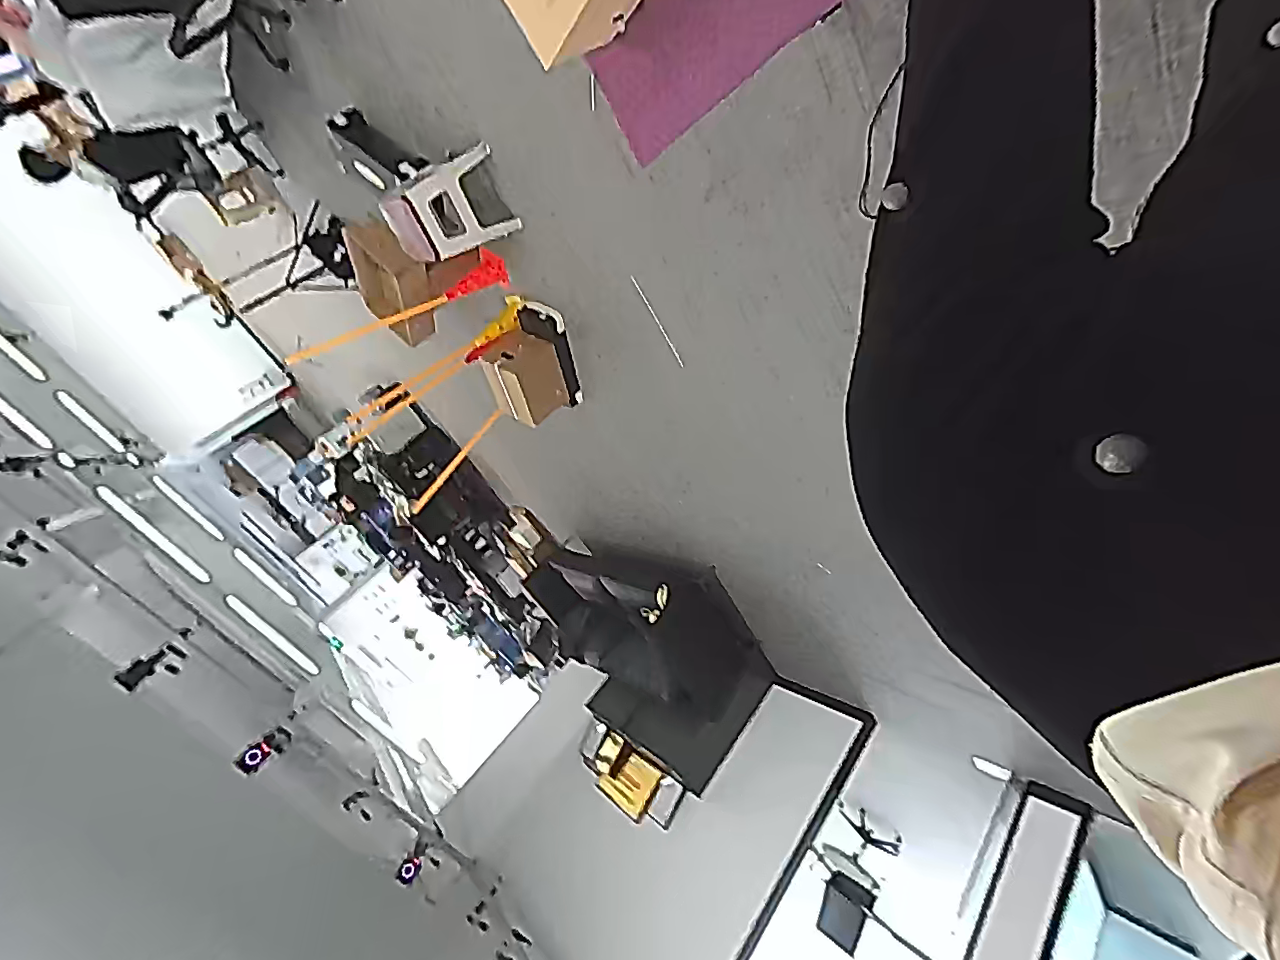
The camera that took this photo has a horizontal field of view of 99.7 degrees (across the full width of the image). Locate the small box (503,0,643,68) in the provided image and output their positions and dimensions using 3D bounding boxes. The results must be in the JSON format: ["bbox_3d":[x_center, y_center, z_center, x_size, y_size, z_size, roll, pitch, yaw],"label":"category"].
[{"bbox_3d":[-0.101,-0.769,0.797,0.179,0.176,0.168,54,153,-20],"label":"small box"}]
